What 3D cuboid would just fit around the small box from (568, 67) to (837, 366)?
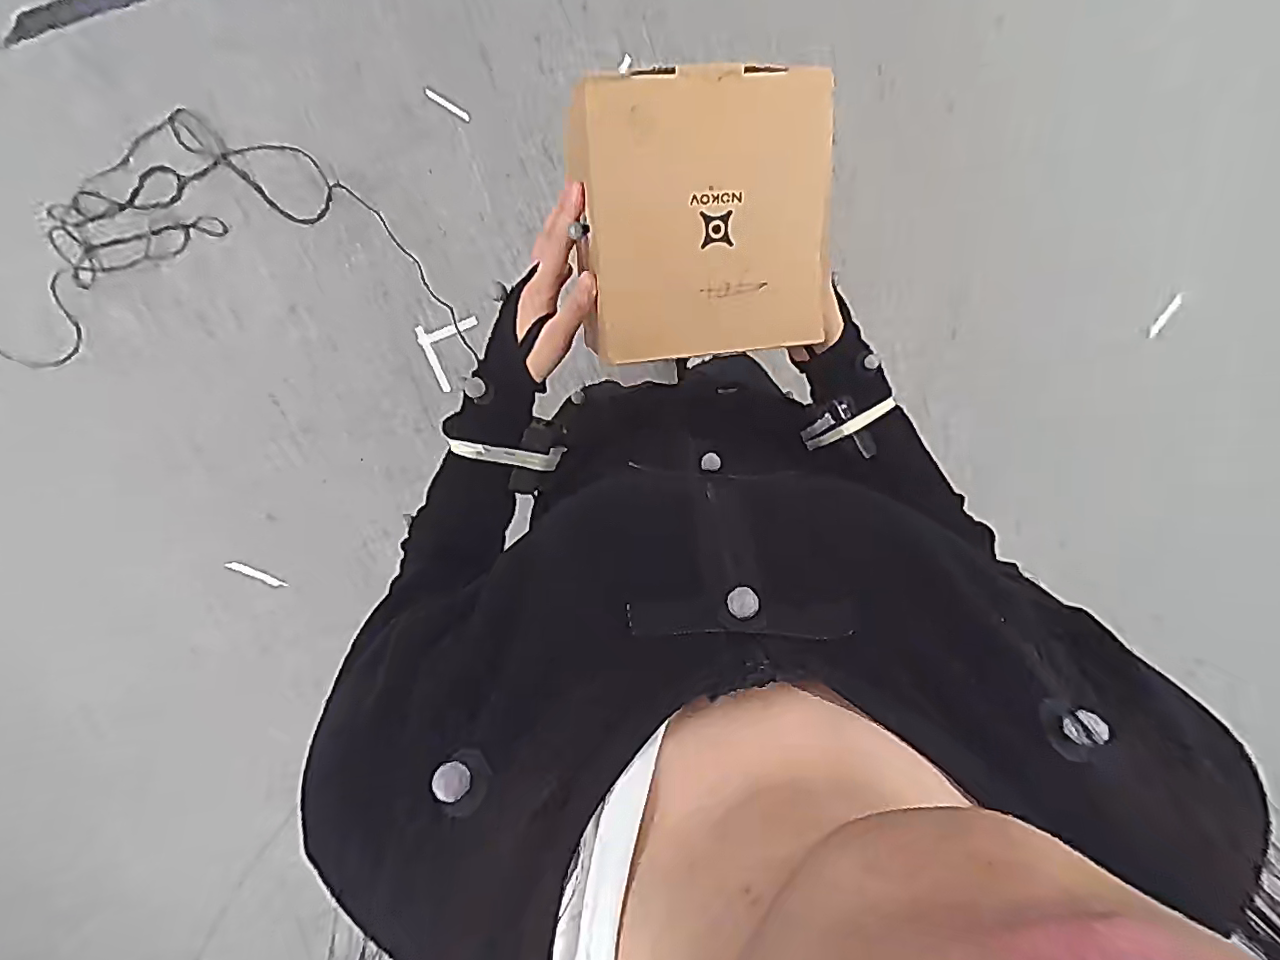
[{"bbox_3d":[0.038,-0.196,0.435,0.168,0.176,0.179,-8,111,-8],"label":"small box"}]
